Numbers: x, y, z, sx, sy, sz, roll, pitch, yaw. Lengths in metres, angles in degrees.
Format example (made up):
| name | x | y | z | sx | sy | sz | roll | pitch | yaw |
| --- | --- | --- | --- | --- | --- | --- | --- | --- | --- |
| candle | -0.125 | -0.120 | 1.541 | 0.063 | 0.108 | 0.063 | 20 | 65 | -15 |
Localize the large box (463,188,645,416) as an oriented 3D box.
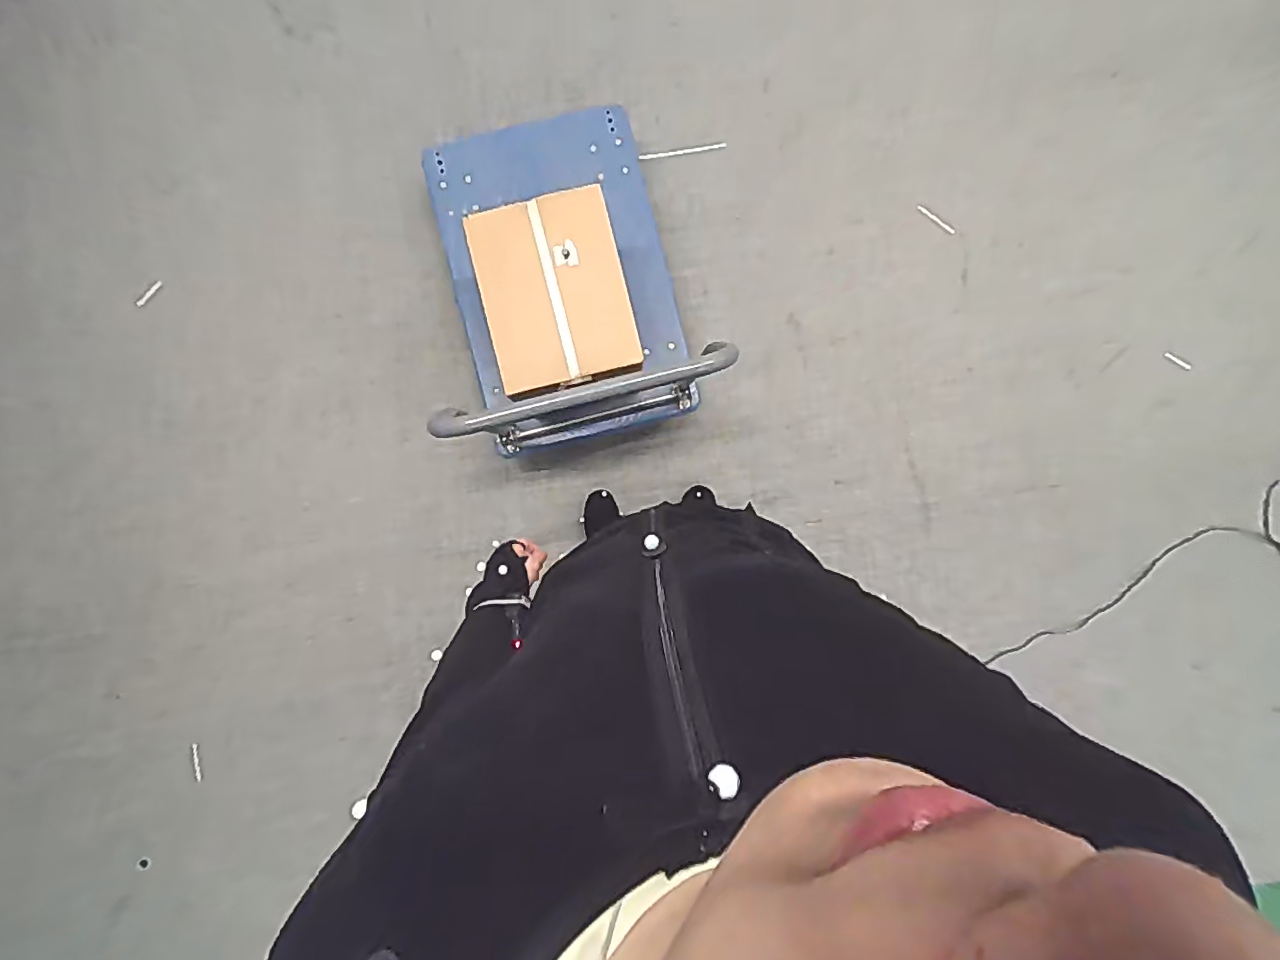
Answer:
| name | x | y | z | sx | sy | sz | roll | pitch | yaw |
| --- | --- | --- | --- | --- | --- | --- | --- | --- | --- |
| large box | -0.187 | -0.405 | 1.322 | 0.320 | 0.320 | 0.408 | -15 | 88 | -2 |
